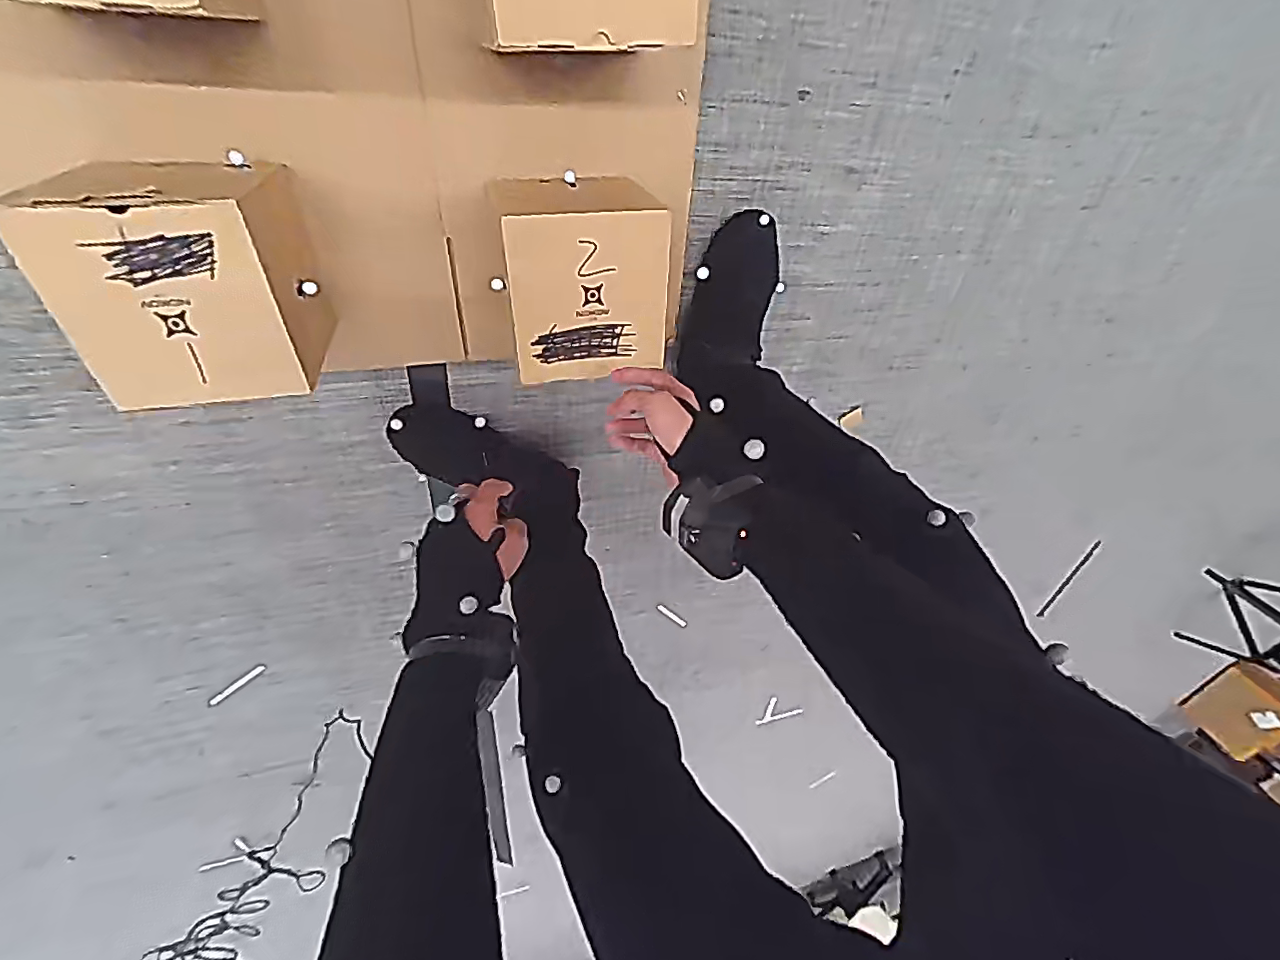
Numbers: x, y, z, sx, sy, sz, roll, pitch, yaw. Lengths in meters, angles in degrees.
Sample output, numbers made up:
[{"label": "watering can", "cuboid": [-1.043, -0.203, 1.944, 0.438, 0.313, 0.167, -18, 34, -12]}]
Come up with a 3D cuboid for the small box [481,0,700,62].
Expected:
[{"label": "small box", "cuboid": [-0.052, -0.460, 0.449, 0.168, 0.176, 0.179, -10, 130, -12]}]

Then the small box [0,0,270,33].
[{"label": "small box", "cuboid": [-0.381, -0.416, 0.356, 0.168, 0.176, 0.179, -7, 129, -14]}]

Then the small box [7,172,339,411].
[{"label": "small box", "cuboid": [-0.416, -0.190, 0.527, 0.168, 0.176, 0.179, -8, 130, -13]}]
